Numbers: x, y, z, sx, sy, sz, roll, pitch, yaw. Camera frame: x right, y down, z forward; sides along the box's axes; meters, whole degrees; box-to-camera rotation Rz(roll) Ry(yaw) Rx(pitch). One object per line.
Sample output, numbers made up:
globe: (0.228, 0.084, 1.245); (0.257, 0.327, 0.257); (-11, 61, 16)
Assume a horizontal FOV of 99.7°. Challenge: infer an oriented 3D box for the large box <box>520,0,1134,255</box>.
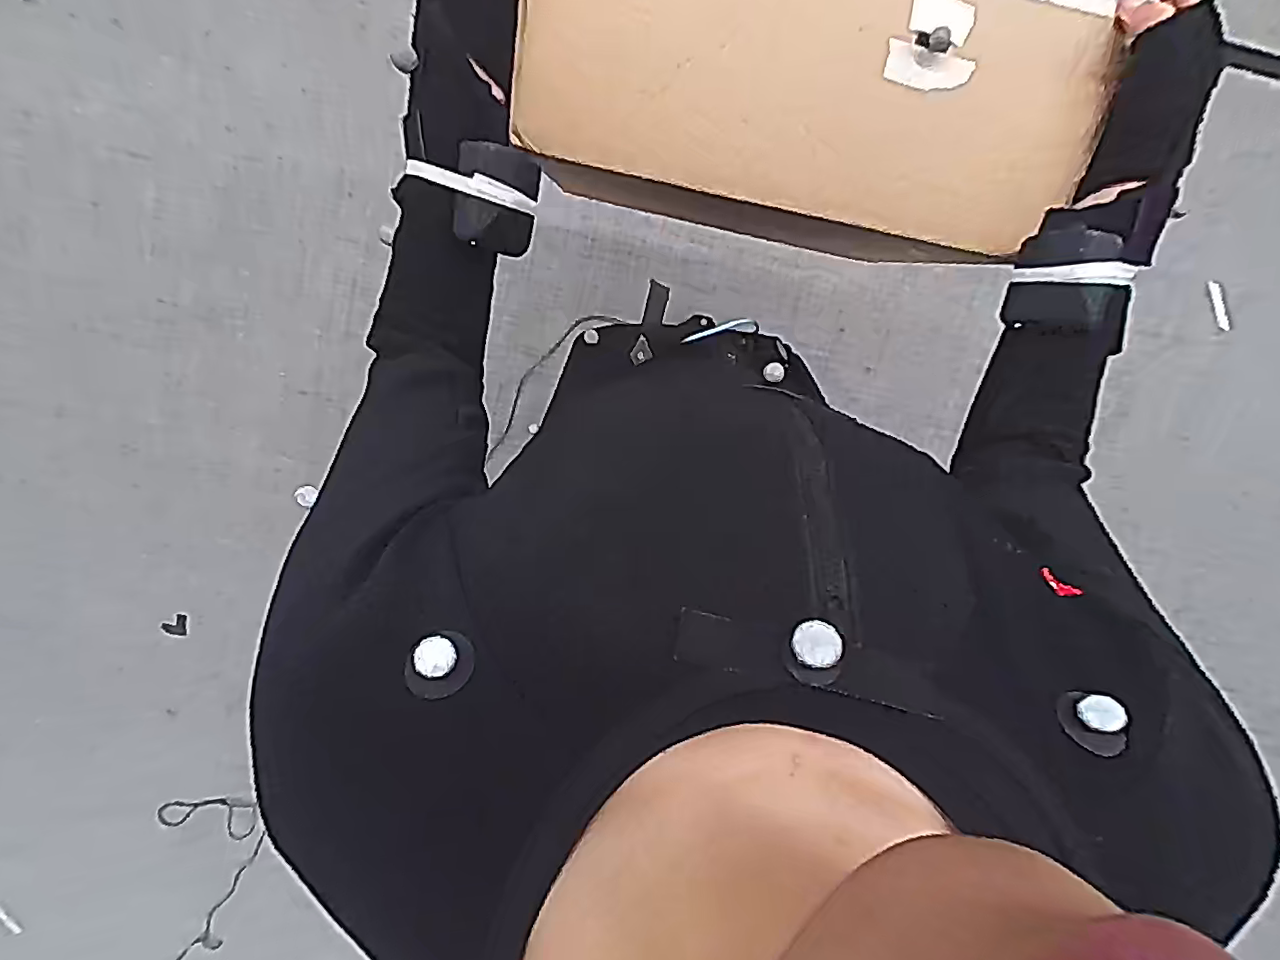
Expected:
large box: (0.128, -0.401, 0.484); (0.408, 0.320, 0.320); (10, 113, -6)
